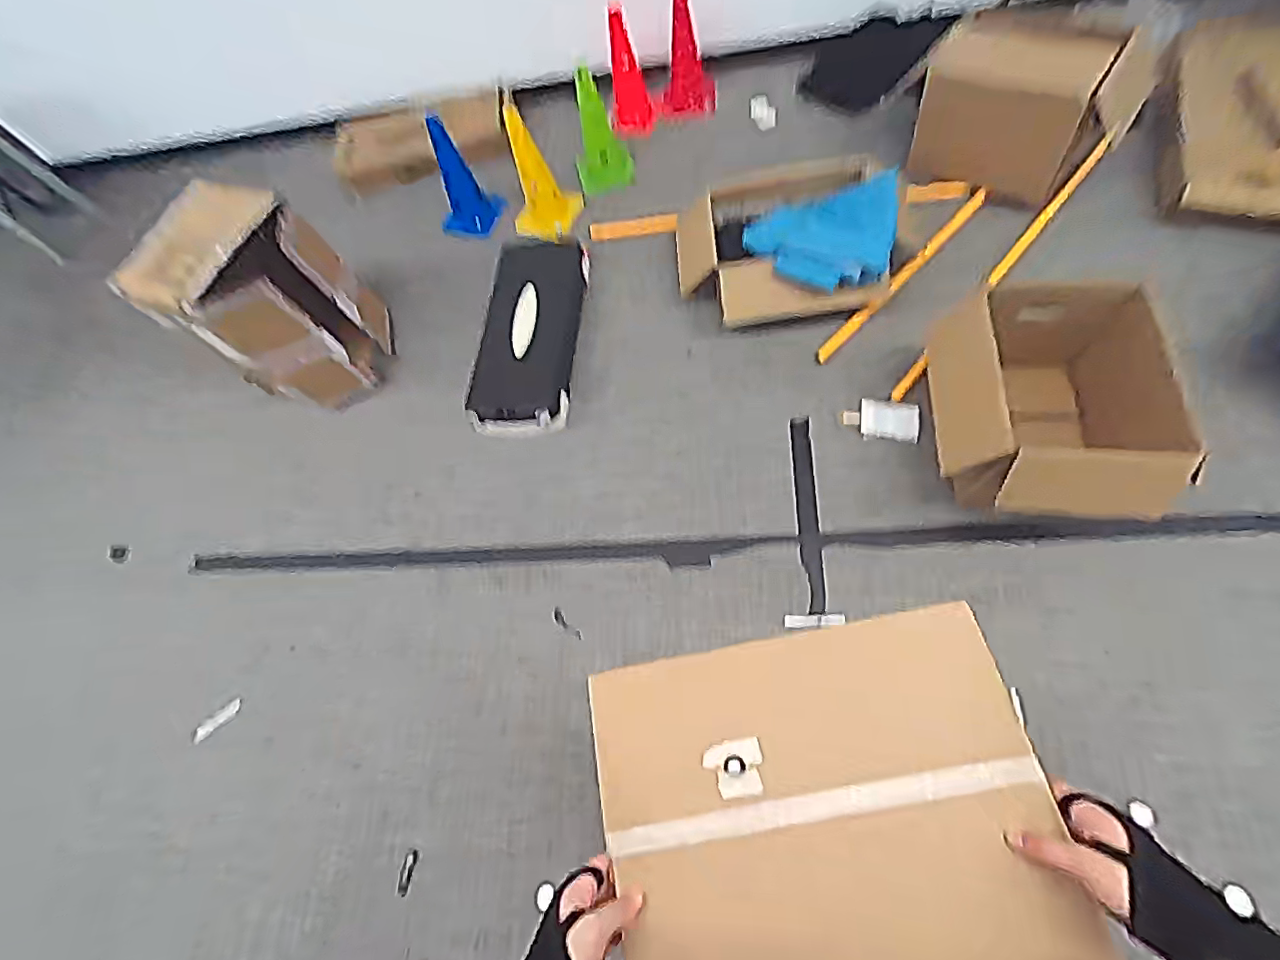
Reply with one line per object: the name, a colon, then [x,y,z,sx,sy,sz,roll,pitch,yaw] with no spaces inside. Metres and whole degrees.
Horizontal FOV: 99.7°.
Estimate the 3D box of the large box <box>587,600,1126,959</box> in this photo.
large box: [0.190,0.359,0.626,0.408,0.320,0.320,-14,64,6]
